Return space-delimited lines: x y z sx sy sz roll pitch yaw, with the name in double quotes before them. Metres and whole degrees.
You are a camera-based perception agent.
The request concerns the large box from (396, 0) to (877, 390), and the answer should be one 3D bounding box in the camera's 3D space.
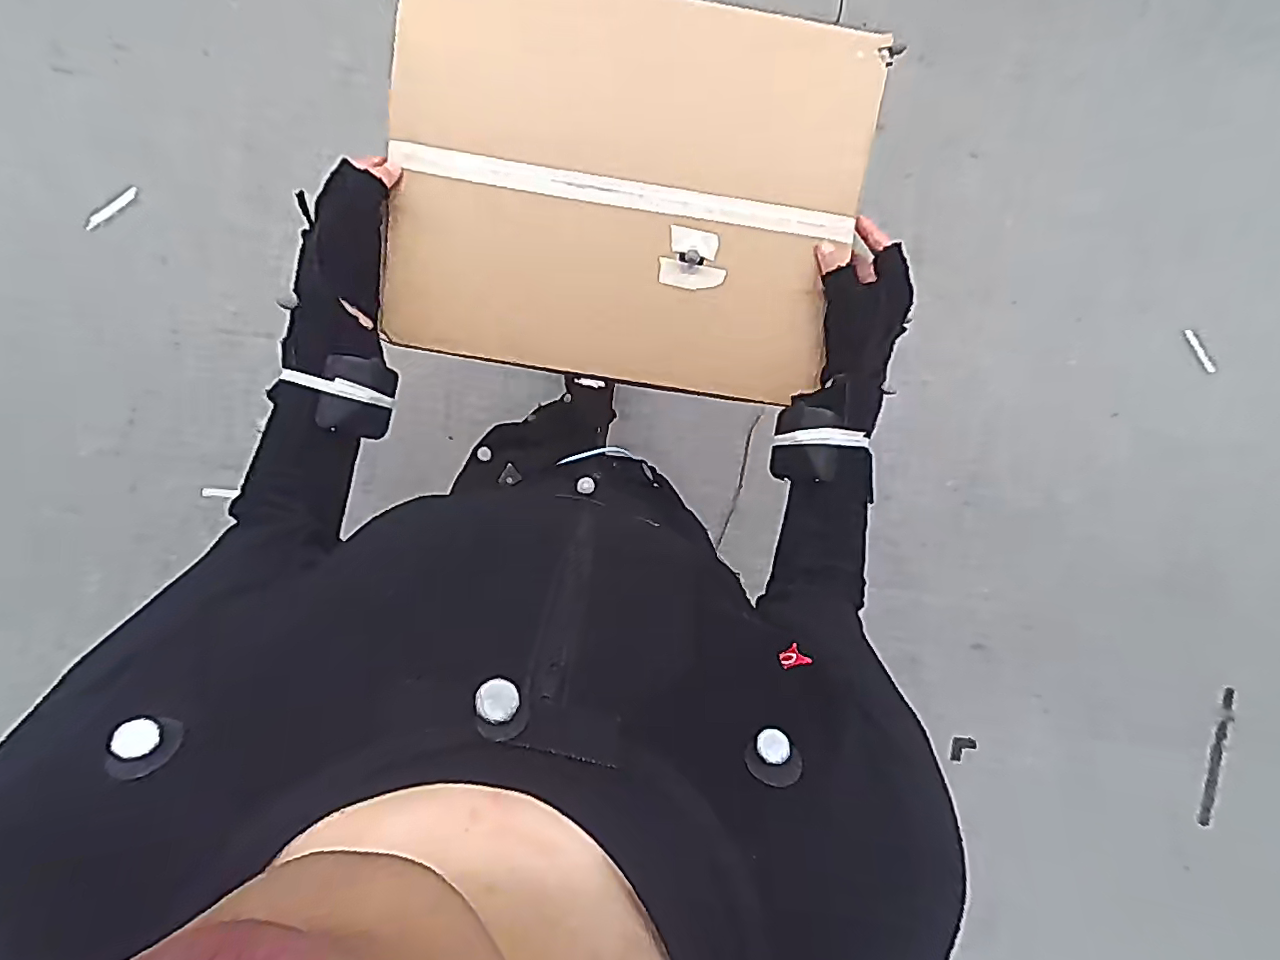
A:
"large box" -0.015 -0.287 0.631 0.408 0.320 0.320 9 101 -3
